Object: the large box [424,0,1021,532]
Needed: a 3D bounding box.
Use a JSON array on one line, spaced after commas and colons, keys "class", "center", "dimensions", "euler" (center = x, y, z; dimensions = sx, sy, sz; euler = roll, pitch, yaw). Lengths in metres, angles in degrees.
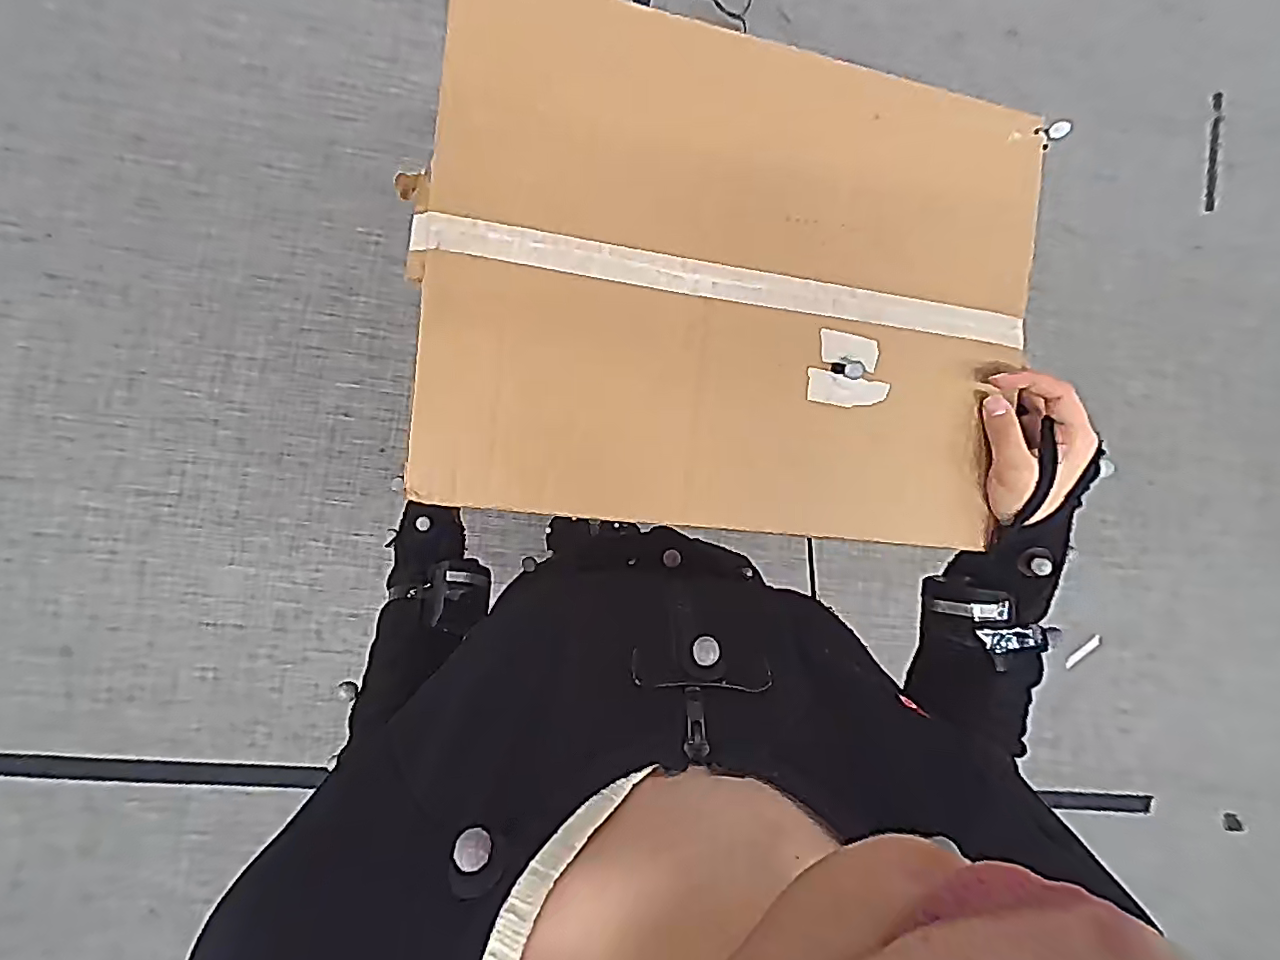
[{"class": "large box", "center": [0.043, -0.134, 0.503], "dimensions": [0.408, 0.320, 0.320], "euler": [5, 92, -13]}]
